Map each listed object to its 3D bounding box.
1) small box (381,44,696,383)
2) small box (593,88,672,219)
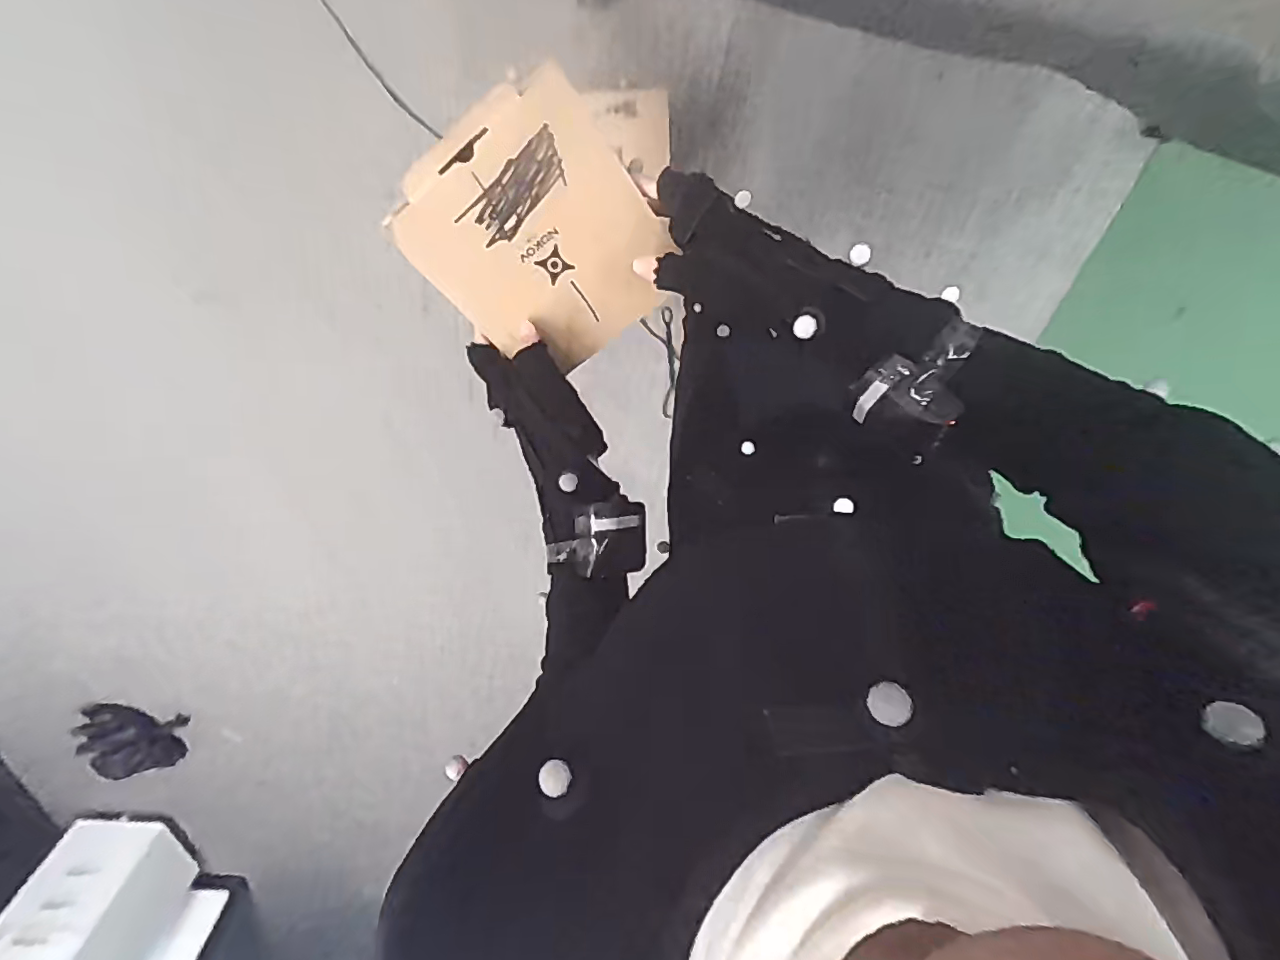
[{"bbox_3d":[-0.081,-0.224,0.464,0.168,0.176,0.179,-33,128,15],"label":"small box"},{"bbox_3d":[-0.033,-0.532,0.892,0.168,0.176,0.179,-3,124,5],"label":"small box"}]
